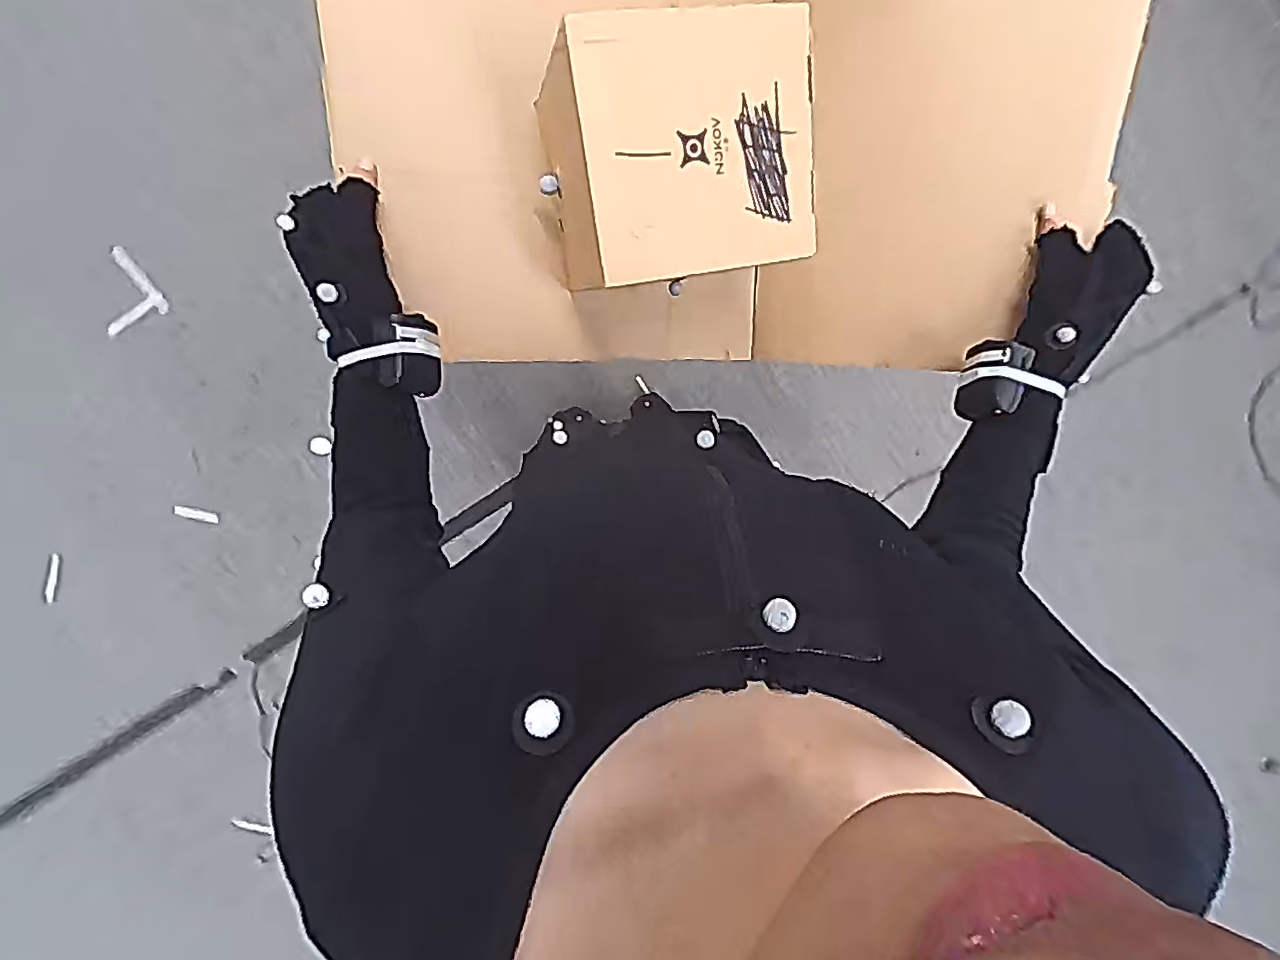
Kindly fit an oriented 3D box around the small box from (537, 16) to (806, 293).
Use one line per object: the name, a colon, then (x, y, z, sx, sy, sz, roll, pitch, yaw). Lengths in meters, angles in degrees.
small box: (0.020, -0.260, 0.466, 0.179, 0.176, 0.168, -14, 111, -12)
